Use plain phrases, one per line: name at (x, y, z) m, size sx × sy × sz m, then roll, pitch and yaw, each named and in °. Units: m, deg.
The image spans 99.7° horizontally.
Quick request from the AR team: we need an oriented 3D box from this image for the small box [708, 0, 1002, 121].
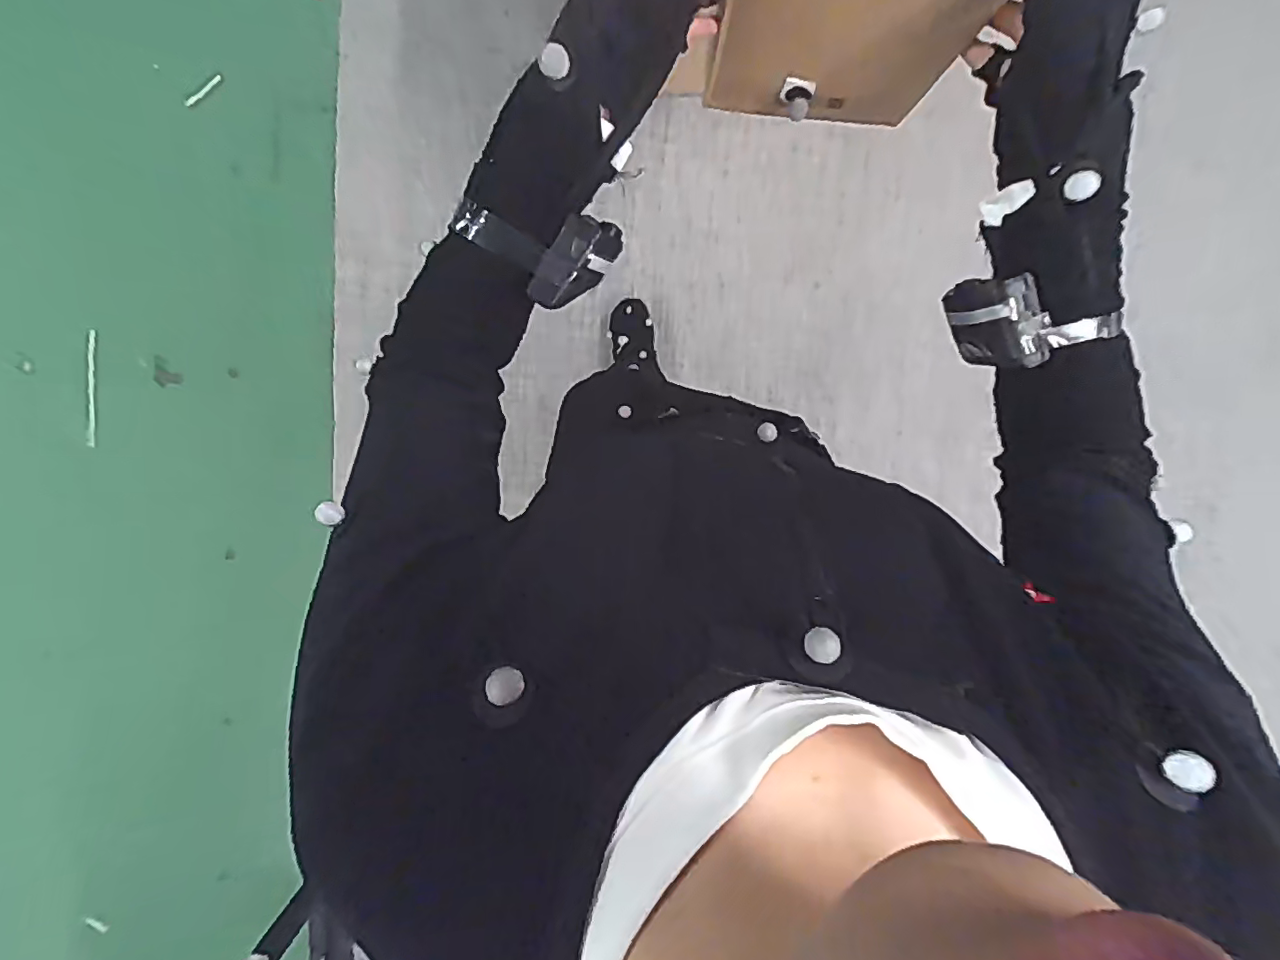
small box at (0.141, -0.381, 0.357) m, size 0.168 × 0.176 × 0.179 m, roll 4°, pitch 96°, yaw 0°
